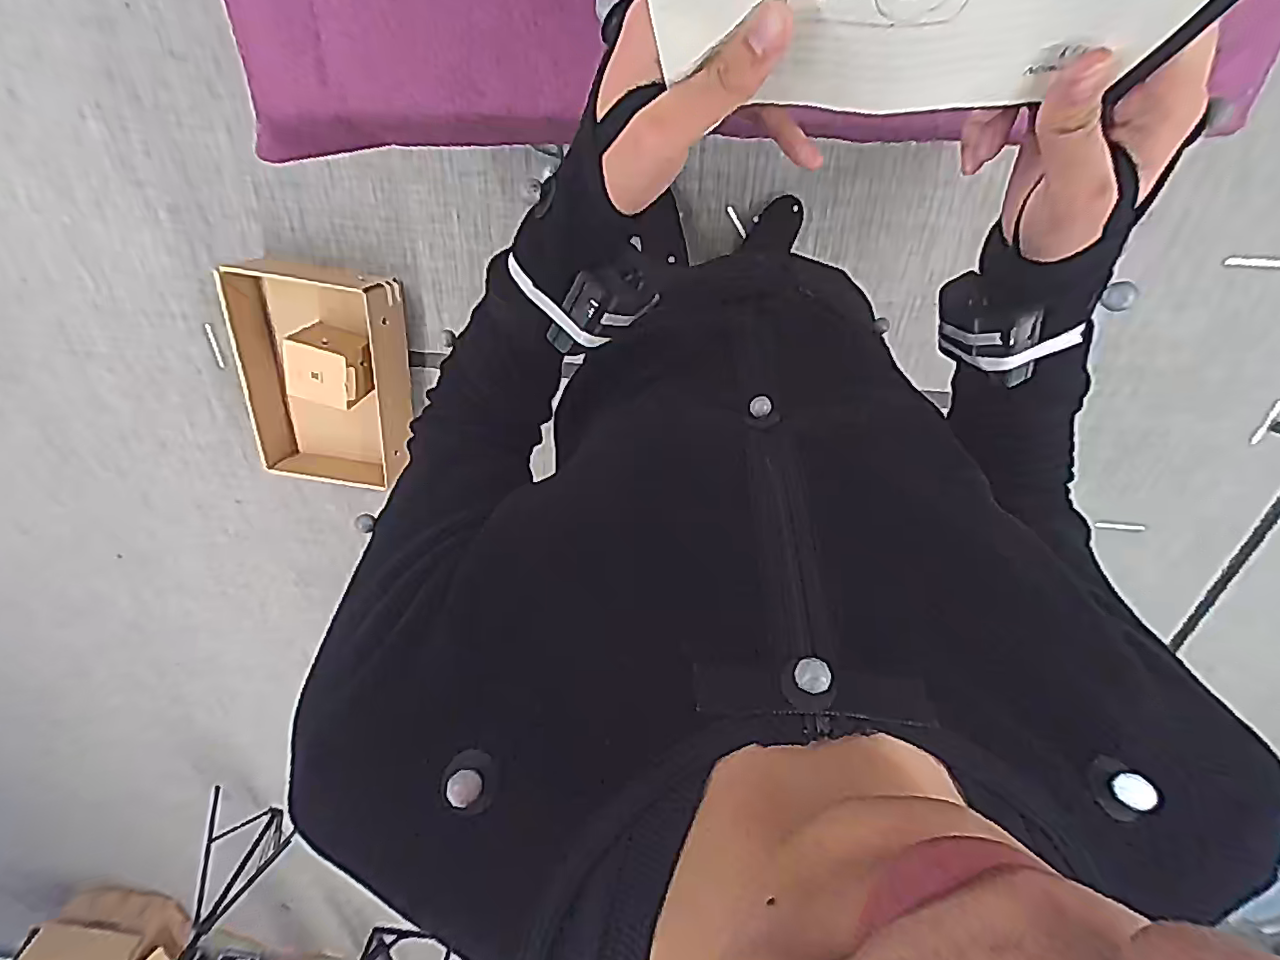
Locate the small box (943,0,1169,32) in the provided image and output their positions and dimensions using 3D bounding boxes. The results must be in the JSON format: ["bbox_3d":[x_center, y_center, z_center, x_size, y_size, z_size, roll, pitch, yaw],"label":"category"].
[{"bbox_3d":[0.413,-0.531,0.491,0.179,0.176,0.168,5,121,2],"label":"small box"}]

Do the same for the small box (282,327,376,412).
[{"bbox_3d":[-0.875,-0.319,1.537,0.179,0.176,0.168,16,121,-4],"label":"small box"}]
